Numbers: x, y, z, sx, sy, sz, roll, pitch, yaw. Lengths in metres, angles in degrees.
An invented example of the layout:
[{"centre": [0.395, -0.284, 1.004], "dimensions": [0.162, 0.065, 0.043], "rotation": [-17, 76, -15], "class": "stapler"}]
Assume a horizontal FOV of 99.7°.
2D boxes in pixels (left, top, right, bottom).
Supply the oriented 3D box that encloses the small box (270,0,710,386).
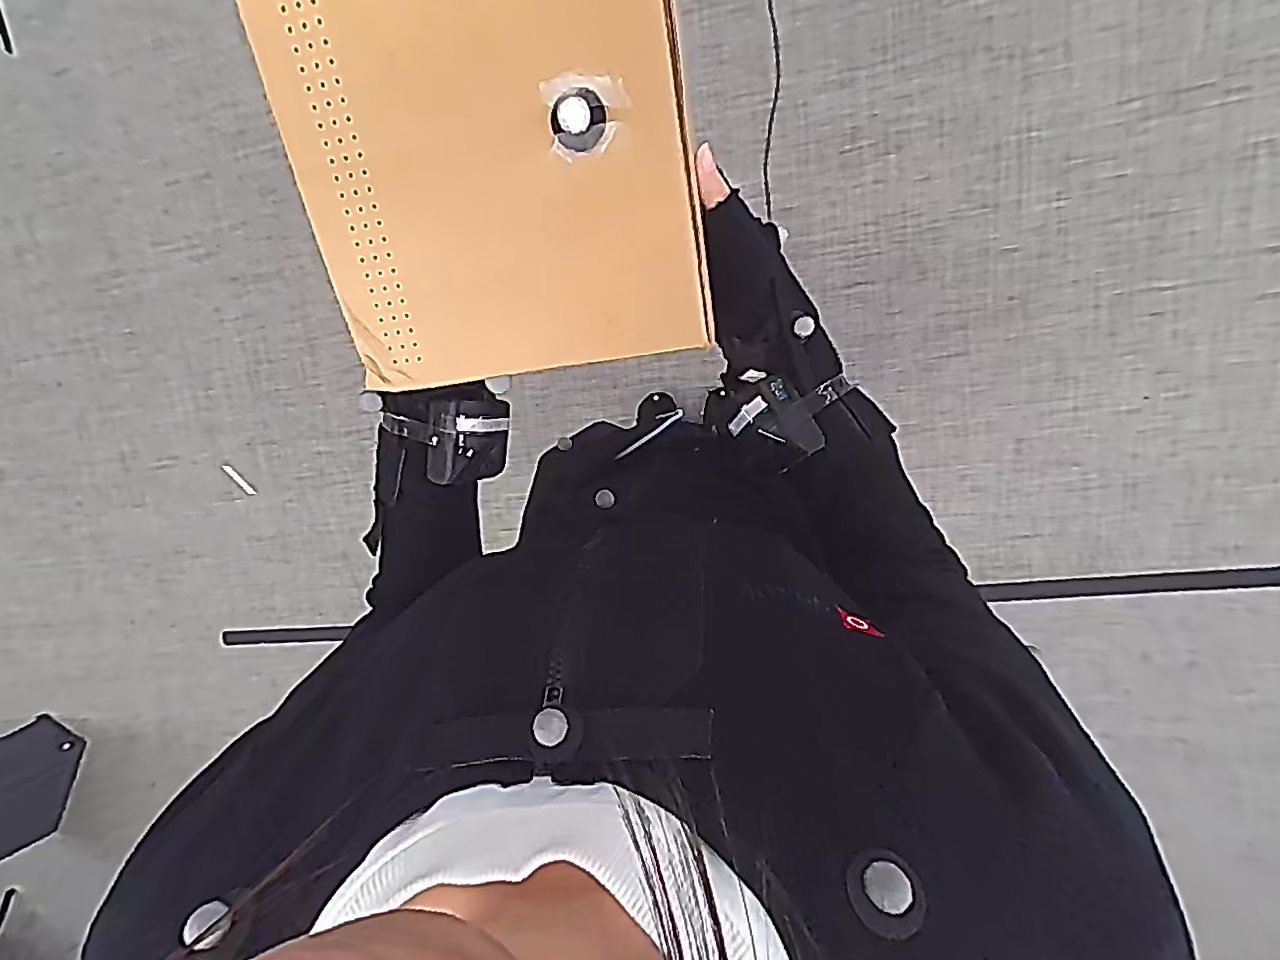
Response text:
[{"centre": [-0.056, -0.162, 0.302], "dimensions": [0.176, 0.168, 0.179], "rotation": [-6, 110, 10], "class": "small box"}]
